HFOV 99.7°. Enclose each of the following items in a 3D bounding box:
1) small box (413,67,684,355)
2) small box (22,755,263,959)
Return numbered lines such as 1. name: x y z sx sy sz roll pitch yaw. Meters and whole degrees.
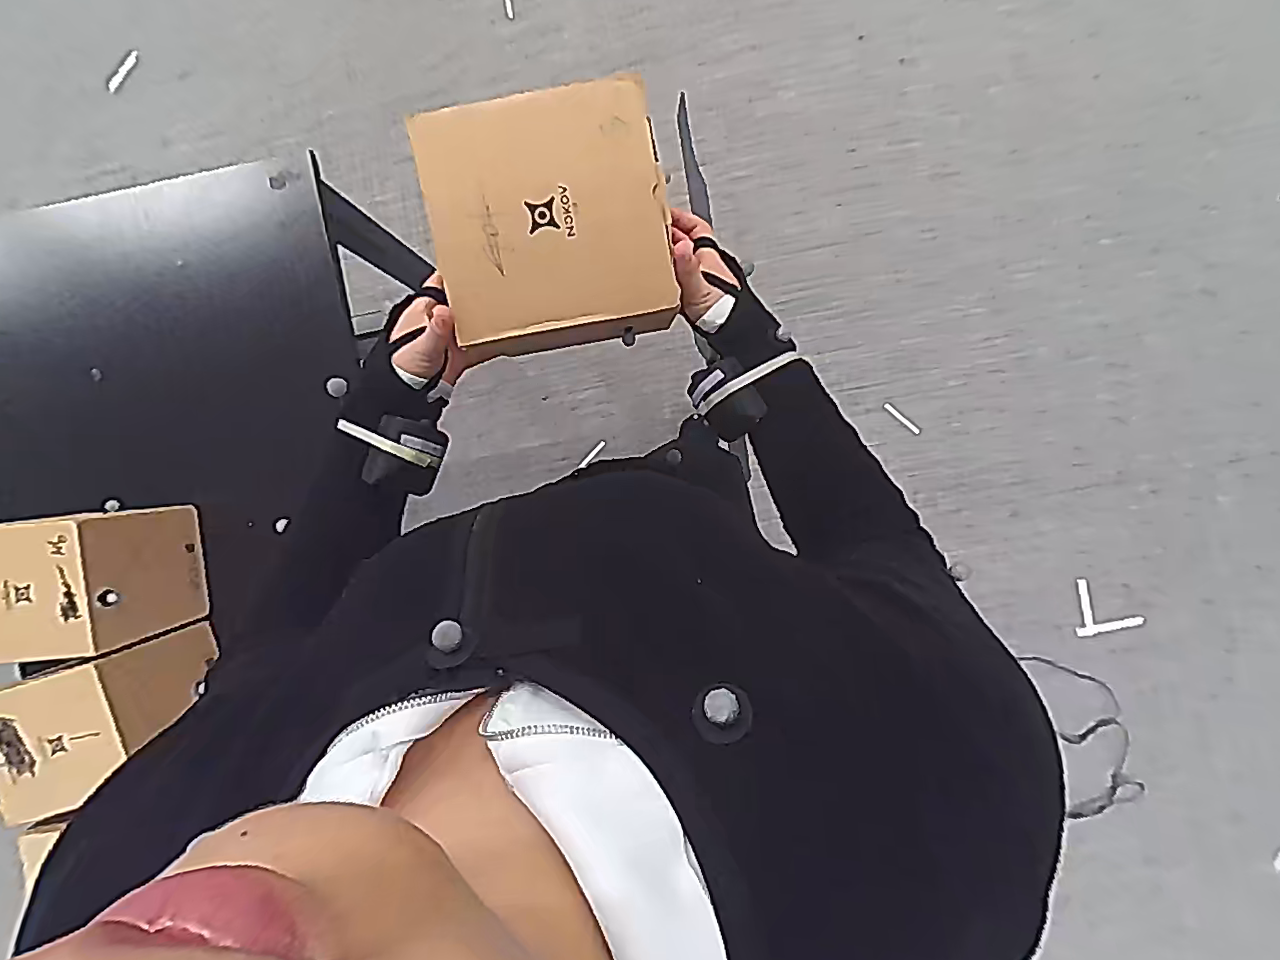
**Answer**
1. small box: -0.064 -0.212 0.477 0.179 0.176 0.168 -11 98 3
2. small box: -0.651 0.498 0.734 0.179 0.176 0.168 -7 91 3
